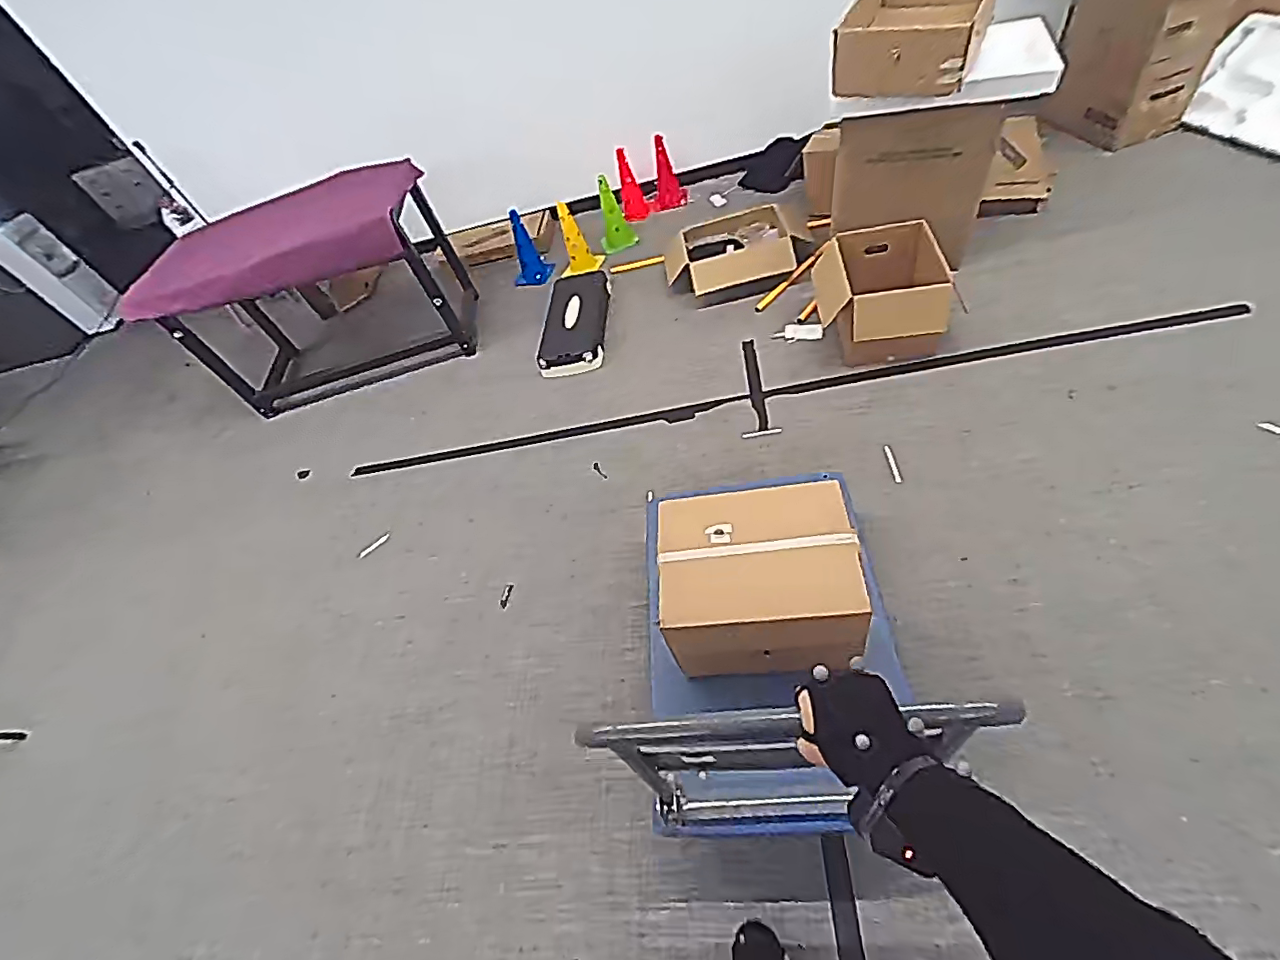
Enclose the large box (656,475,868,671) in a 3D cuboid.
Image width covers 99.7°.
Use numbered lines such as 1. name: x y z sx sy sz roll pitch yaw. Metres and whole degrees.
1. large box: 0.268 0.226 1.236 0.408 0.320 0.320 -9 50 12
